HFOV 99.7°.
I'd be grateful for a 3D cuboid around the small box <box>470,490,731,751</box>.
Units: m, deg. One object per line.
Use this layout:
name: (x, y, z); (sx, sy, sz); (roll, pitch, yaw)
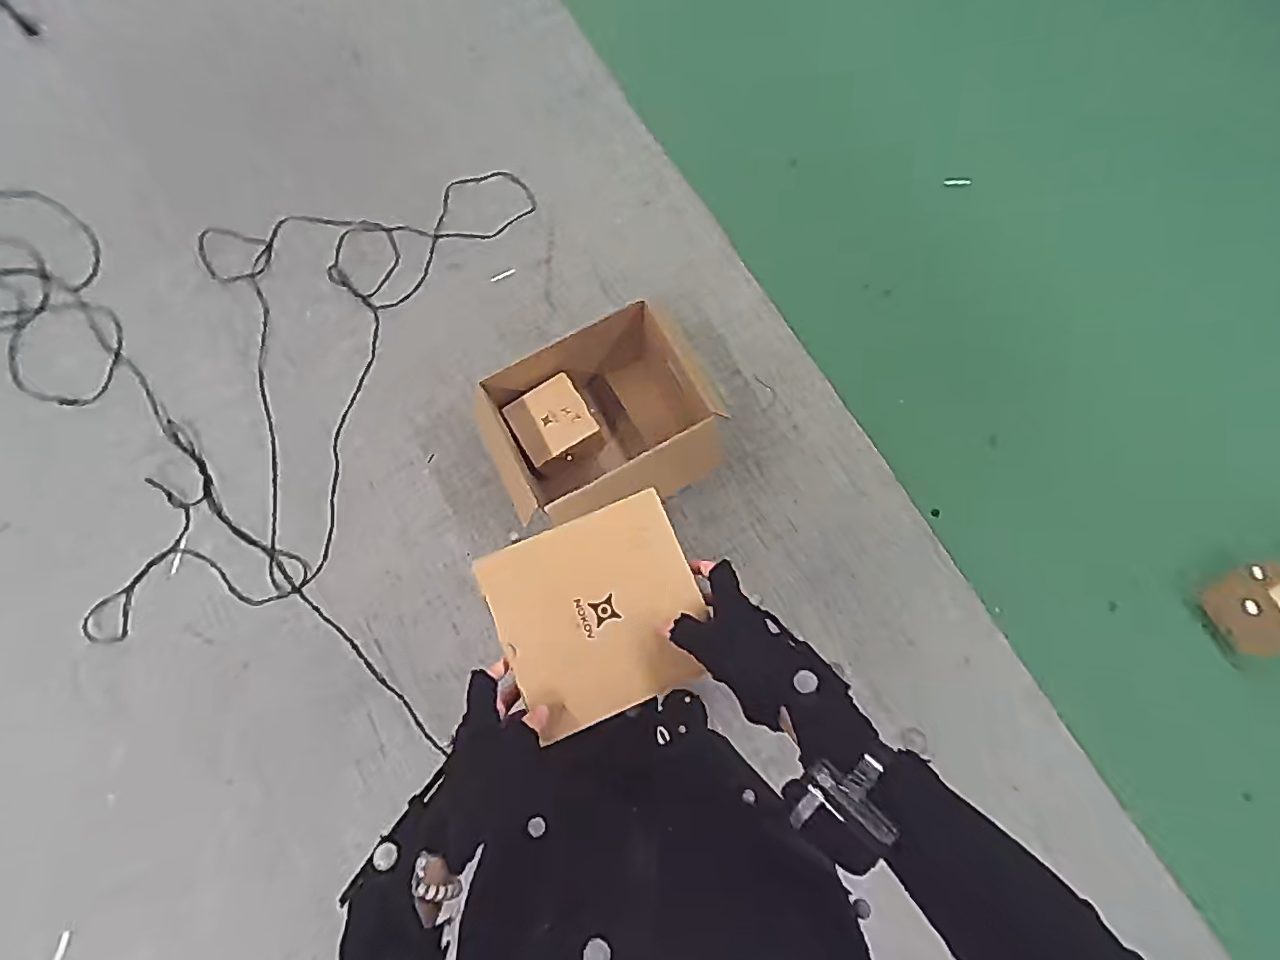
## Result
small box: (-0.036, 0.123, 0.532); (0.179, 0.176, 0.168); (-24, 83, -4)
